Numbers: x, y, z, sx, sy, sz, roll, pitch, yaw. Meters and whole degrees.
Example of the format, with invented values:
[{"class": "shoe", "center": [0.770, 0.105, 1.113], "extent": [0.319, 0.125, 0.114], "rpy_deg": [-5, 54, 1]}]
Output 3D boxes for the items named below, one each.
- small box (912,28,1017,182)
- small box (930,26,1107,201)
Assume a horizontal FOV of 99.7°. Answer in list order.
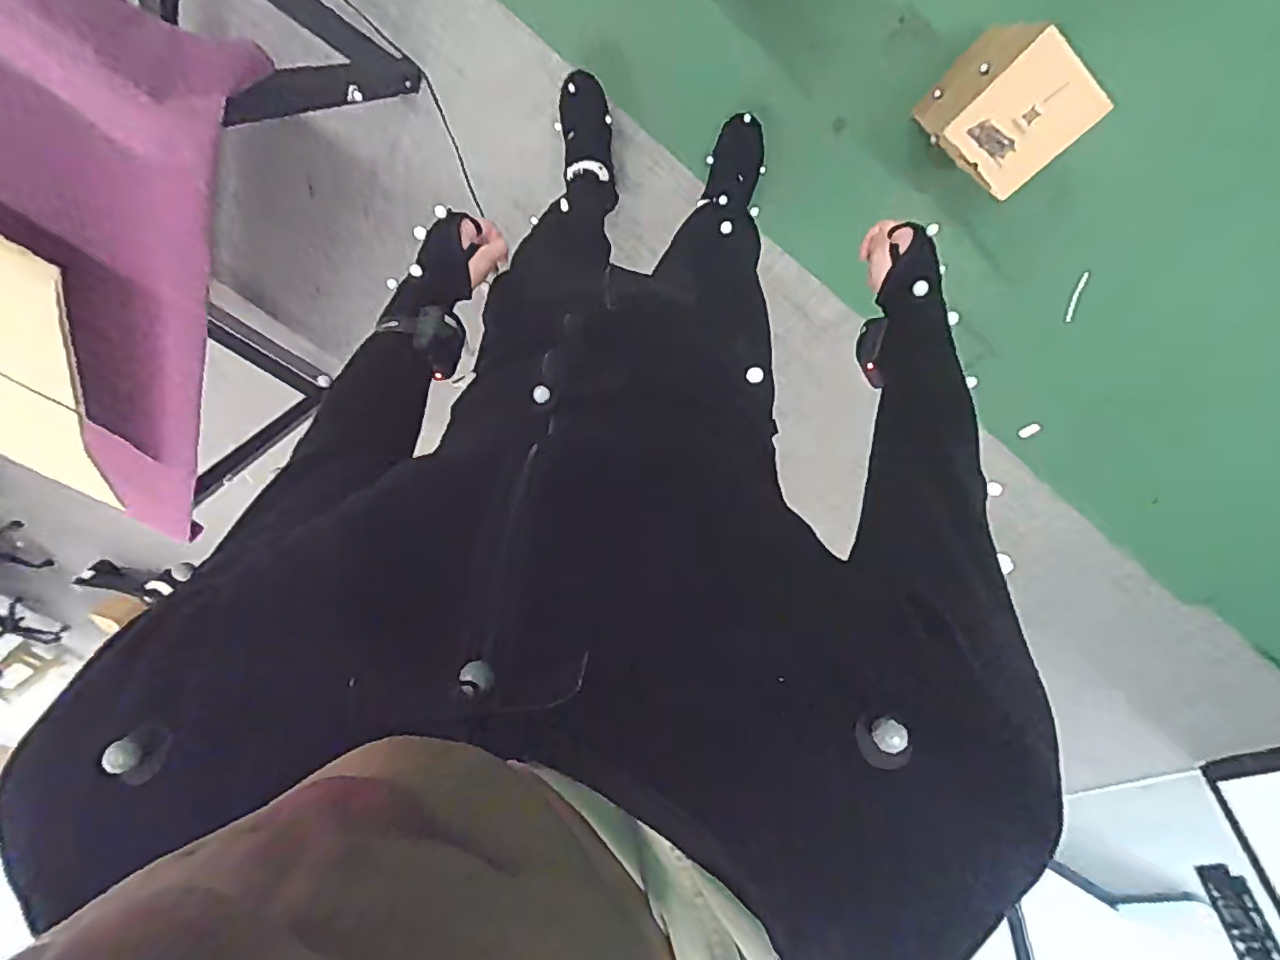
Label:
[{"class": "small box", "center": [0.658, -0.721, 1.040], "extent": [0.168, 0.176, 0.179], "rpy_deg": [36, 130, -14]}, {"class": "small box", "center": [0.622, -0.618, 0.916], "extent": [0.168, 0.176, 0.179], "rpy_deg": [36, 129, -16]}]
